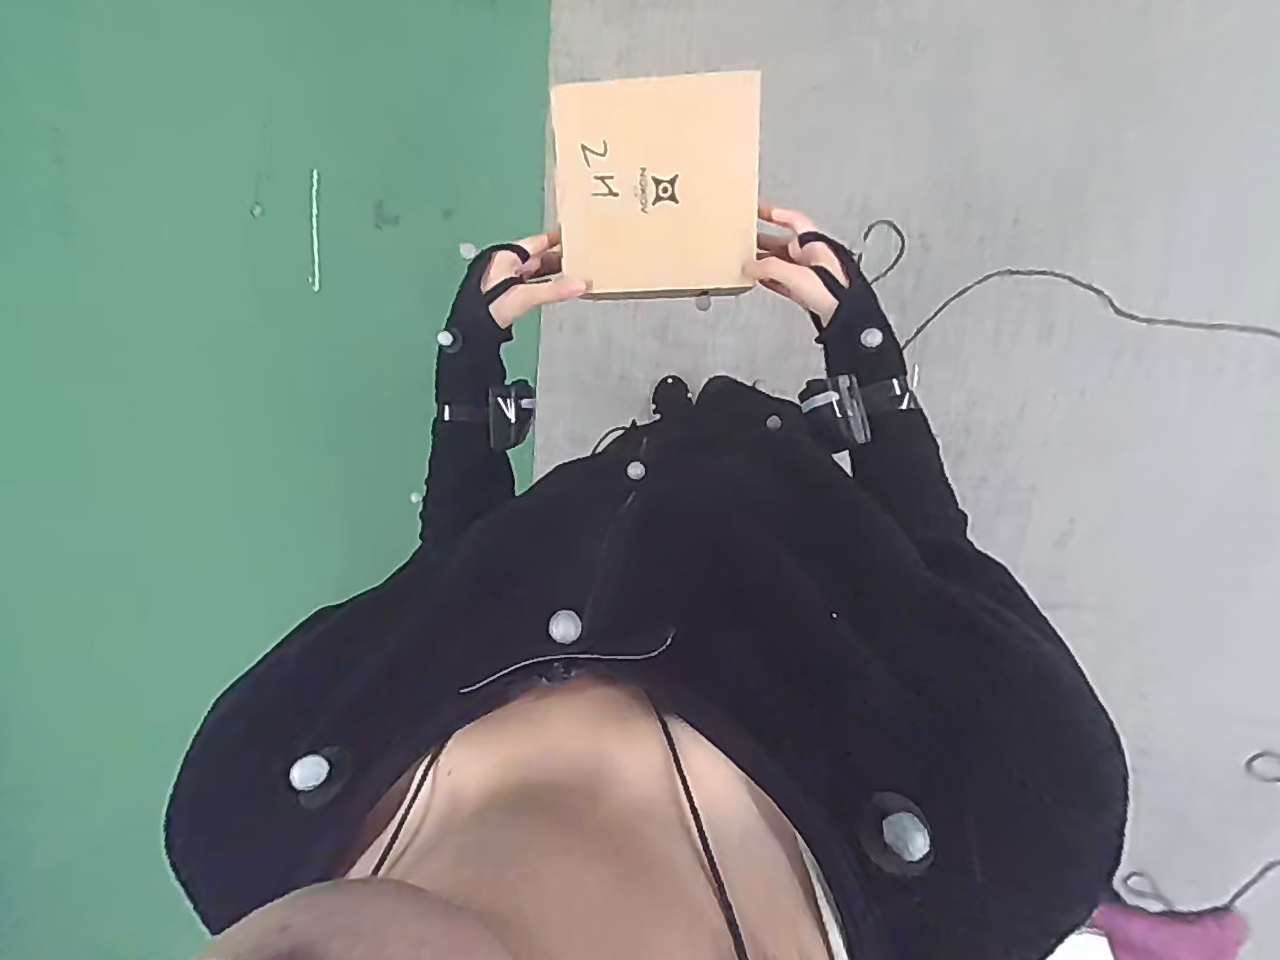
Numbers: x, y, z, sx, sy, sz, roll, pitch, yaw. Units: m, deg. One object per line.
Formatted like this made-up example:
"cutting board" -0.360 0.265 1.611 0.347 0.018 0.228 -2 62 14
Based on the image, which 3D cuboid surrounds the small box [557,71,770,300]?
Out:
"small box" 0.025 -0.270 0.534 0.179 0.176 0.168 1 105 6
